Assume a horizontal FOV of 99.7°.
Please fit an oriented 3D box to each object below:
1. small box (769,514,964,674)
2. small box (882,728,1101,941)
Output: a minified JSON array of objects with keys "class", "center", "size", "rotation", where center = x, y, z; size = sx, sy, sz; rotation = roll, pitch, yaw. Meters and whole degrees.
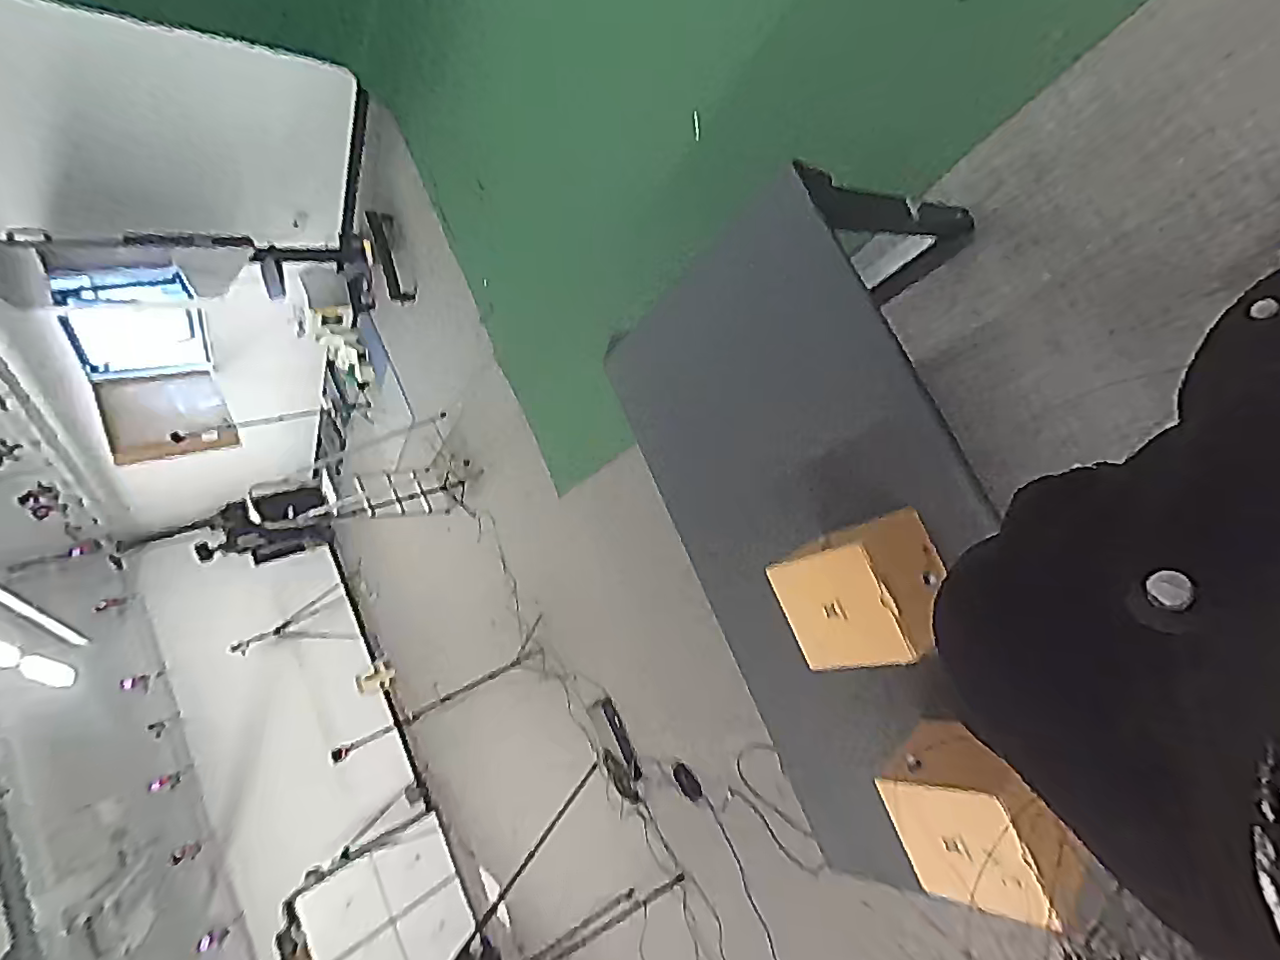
[{"class":"small box","center":[0.333,0.167,0.798],"size":[0.179,0.176,0.168],"rotation":[-33,79,49]},{"class":"small box","center":[0.479,0.460,0.740],"size":[0.179,0.176,0.168],"rotation":[-31,80,50]}]
